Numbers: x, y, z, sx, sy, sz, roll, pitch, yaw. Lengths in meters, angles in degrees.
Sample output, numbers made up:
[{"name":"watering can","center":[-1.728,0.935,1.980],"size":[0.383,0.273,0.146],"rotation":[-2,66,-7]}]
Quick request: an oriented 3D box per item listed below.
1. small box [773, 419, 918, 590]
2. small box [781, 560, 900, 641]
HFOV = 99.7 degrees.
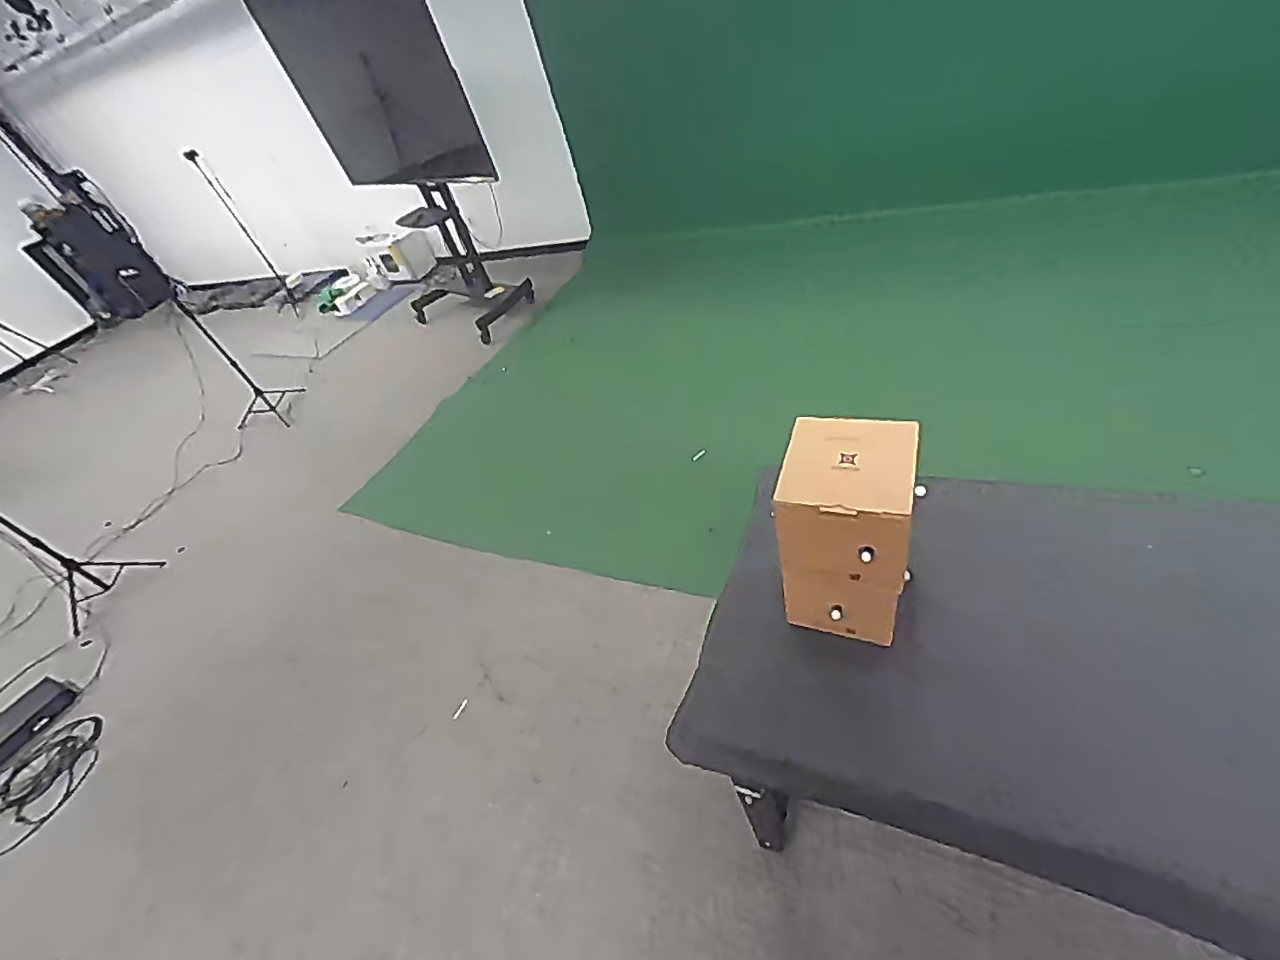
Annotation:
[{"name":"small box","center":[0.297,0.034,0.777],"size":[0.168,0.176,0.179],"rotation":[7,47,25]},{"name":"small box","center":[0.341,0.139,0.894],"size":[0.168,0.176,0.179],"rotation":[8,49,26]}]
